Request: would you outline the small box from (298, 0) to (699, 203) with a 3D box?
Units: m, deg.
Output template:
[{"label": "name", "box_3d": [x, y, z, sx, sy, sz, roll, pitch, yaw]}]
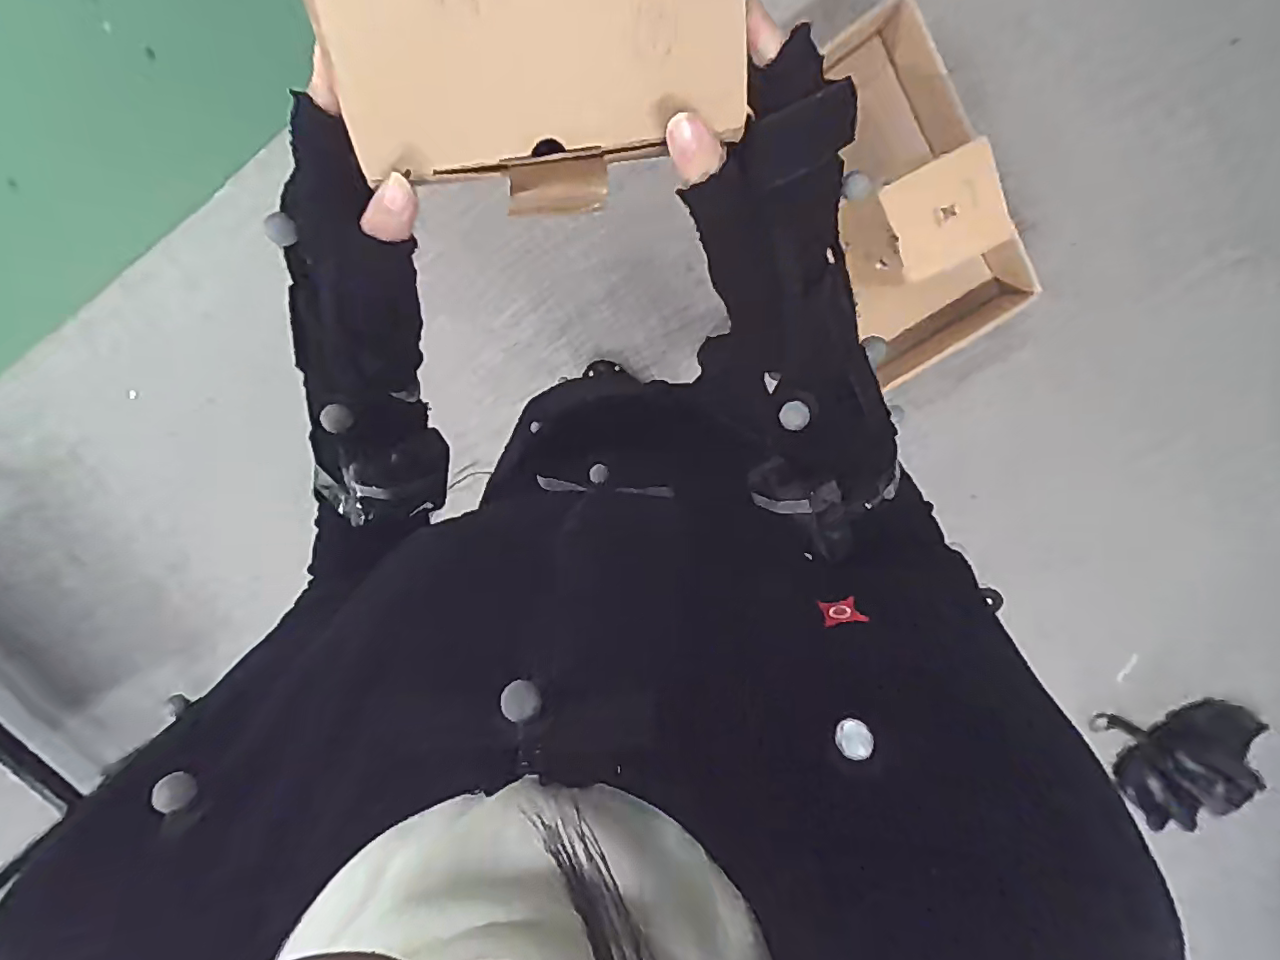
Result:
[{"label": "small box", "box_3d": [-0.059, -0.259, 0.280, 0.168, 0.176, 0.179, -7, 120, 7]}]

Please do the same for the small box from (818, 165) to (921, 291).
[{"label": "small box", "box_3d": [0.495, -0.513, 1.127, 0.168, 0.176, 0.179, -25, 103, 11]}]

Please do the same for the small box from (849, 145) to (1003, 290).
[{"label": "small box", "box_3d": [0.492, -0.450, 0.961, 0.179, 0.176, 0.168, -24, 107, 10]}]
